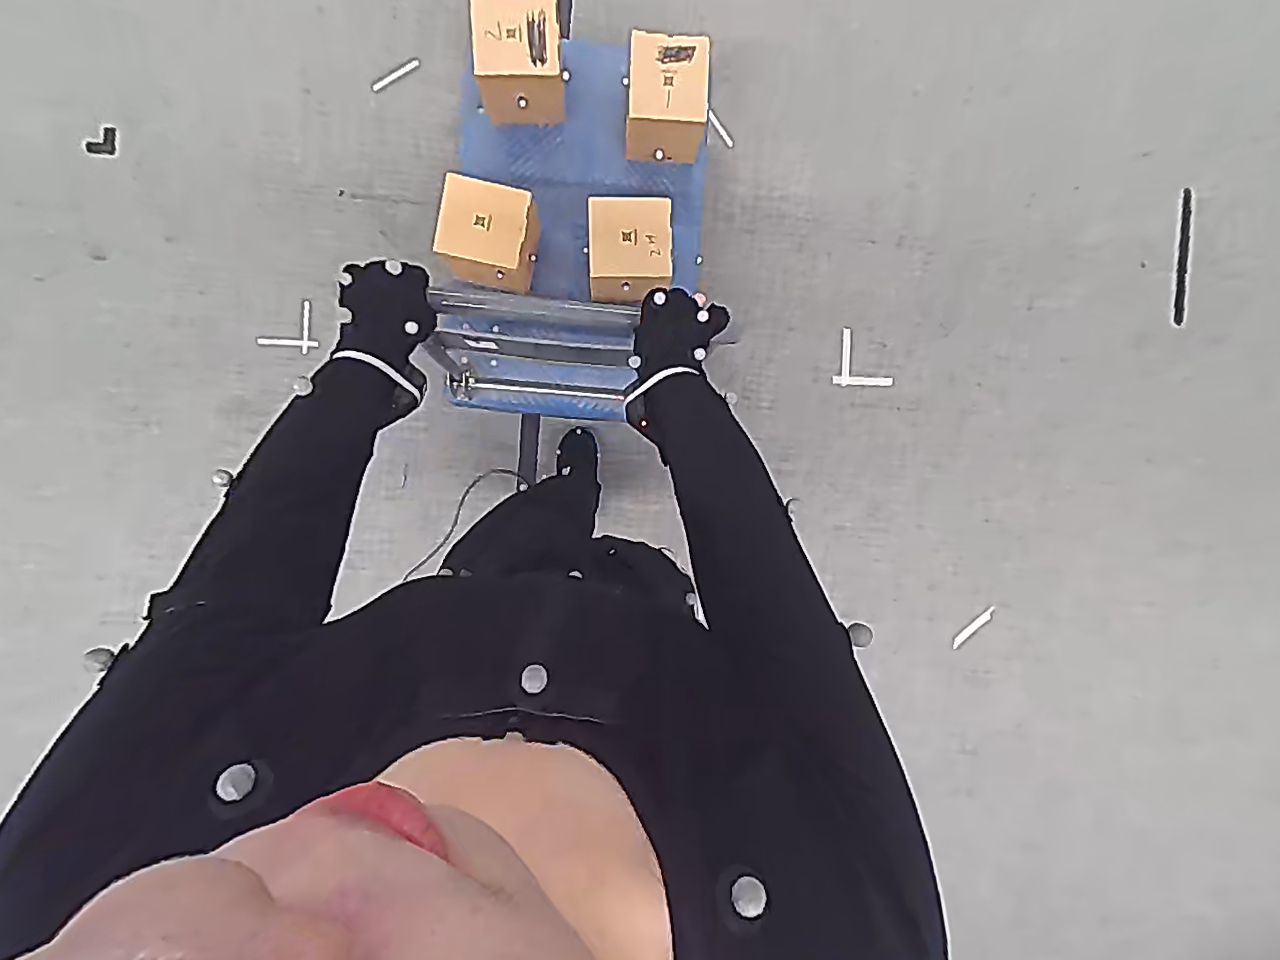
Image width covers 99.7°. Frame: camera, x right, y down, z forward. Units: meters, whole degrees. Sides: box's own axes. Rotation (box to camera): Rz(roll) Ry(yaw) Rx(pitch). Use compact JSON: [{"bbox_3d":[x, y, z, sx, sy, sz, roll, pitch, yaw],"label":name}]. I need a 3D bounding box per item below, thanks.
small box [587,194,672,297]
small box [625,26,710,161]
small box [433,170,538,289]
[{"bbox_3d":[-0.025,-0.512,1.200,0.179,0.176,0.168,-1,93,-4],"label":"small box"},{"bbox_3d":[0.055,-0.842,1.191,0.168,0.176,0.179,1,93,-4],"label":"small box"},{"bbox_3d":[-0.328,-0.535,1.179,0.179,0.176,0.168,10,91,-6],"label":"small box"}]
